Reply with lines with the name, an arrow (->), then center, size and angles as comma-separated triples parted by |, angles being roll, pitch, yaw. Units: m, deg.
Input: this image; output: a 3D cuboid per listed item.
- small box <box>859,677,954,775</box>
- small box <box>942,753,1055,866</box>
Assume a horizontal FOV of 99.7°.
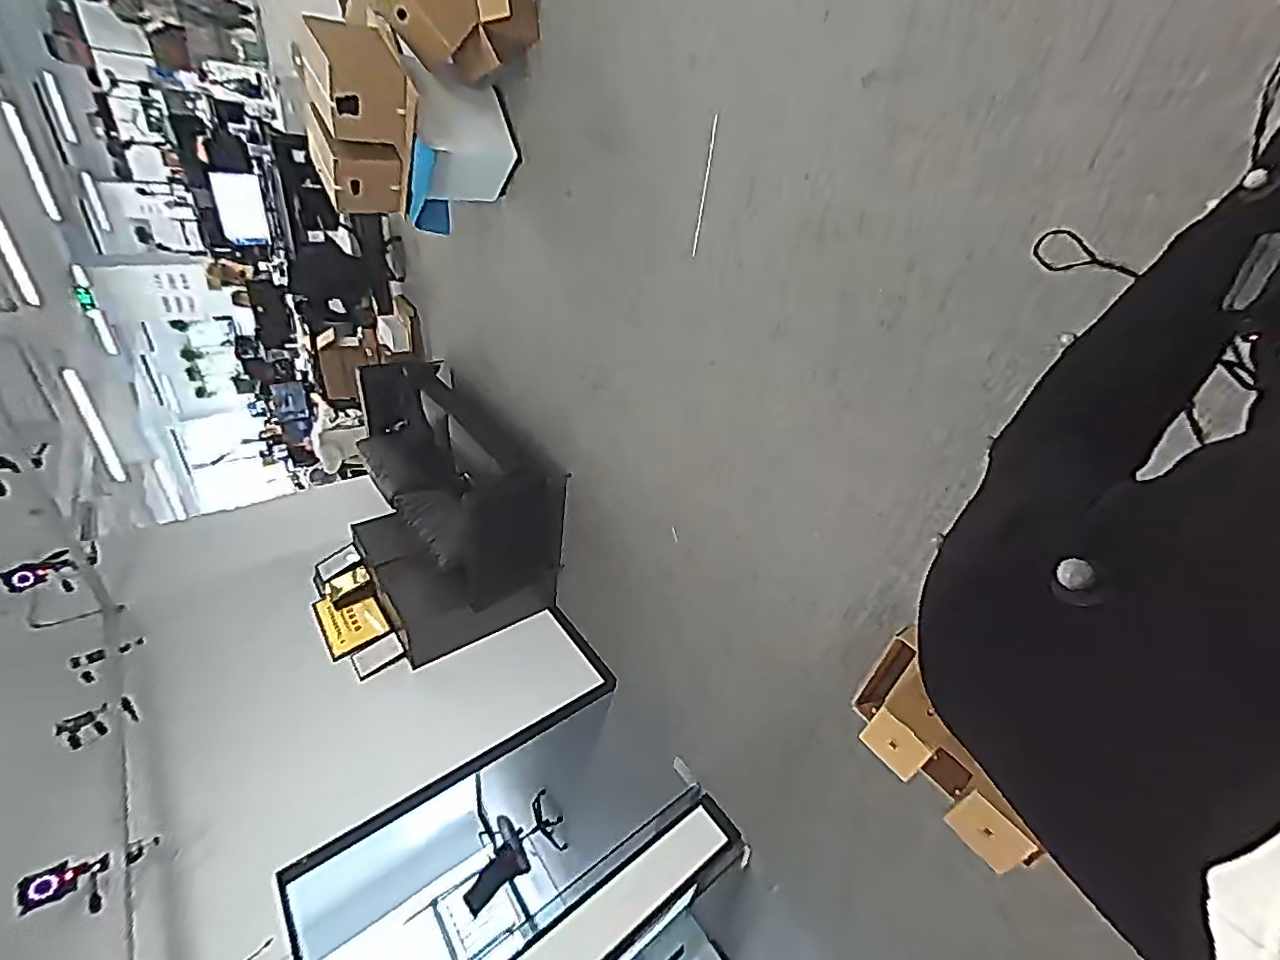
small box -> 0.800, 0.732, 1.619 | 0.168, 0.176, 0.179 | 42, 135, 35
small box -> 0.968, 0.882, 1.458 | 0.168, 0.176, 0.179 | 42, 136, 35
